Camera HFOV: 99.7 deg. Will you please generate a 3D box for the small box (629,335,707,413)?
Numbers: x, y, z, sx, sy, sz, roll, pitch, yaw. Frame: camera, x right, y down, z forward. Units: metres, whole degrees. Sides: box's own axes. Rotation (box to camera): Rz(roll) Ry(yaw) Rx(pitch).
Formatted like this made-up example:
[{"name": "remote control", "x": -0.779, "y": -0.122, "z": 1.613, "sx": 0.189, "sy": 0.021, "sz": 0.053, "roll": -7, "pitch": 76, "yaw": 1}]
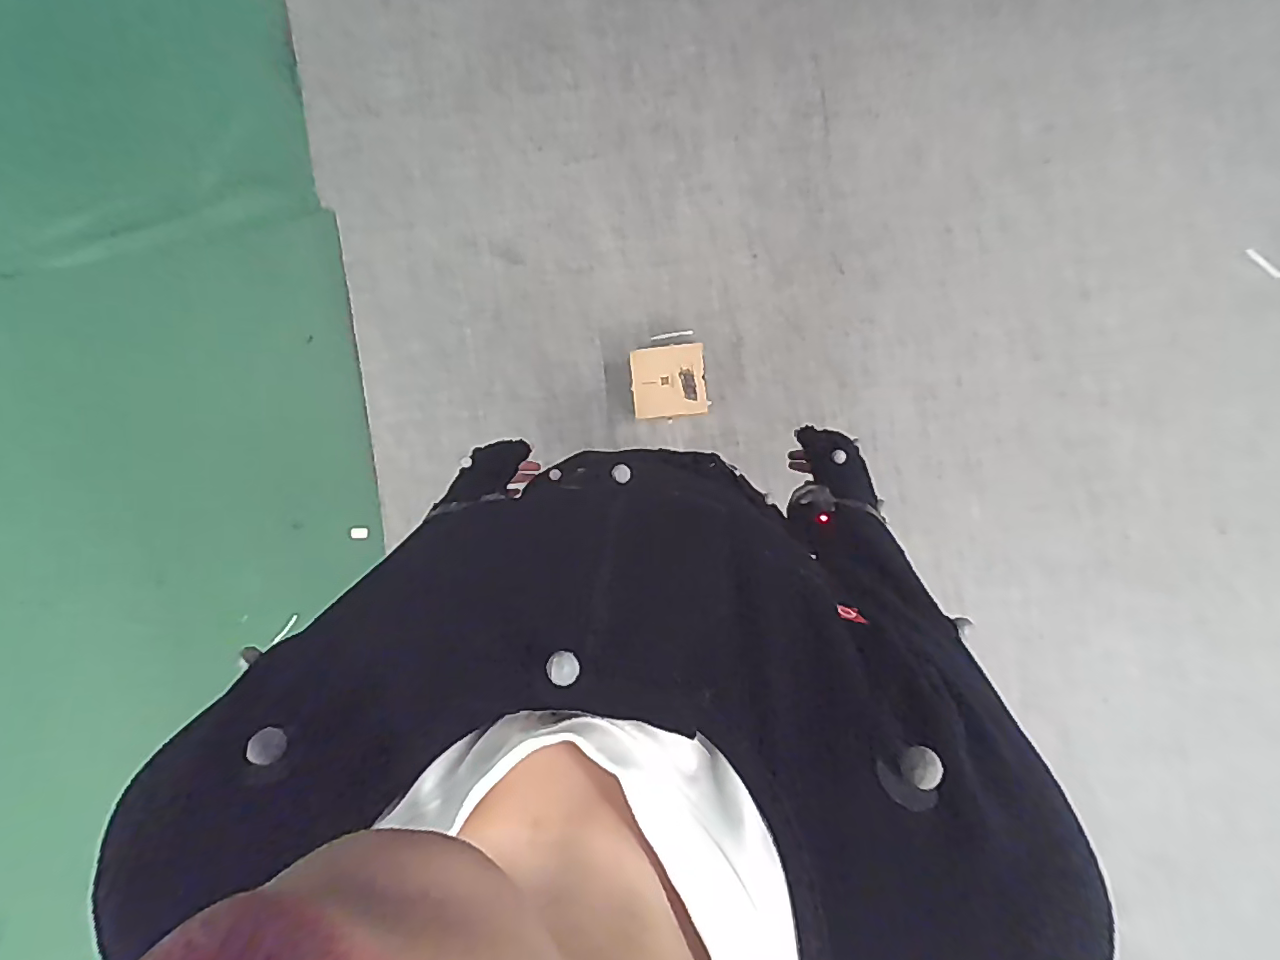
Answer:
[{"name": "small box", "x": 0.072, "y": -0.260, "z": 1.361, "sx": 0.179, "sy": 0.176, "sz": 0.168, "roll": -5, "pitch": 93, "yaw": 7}]
